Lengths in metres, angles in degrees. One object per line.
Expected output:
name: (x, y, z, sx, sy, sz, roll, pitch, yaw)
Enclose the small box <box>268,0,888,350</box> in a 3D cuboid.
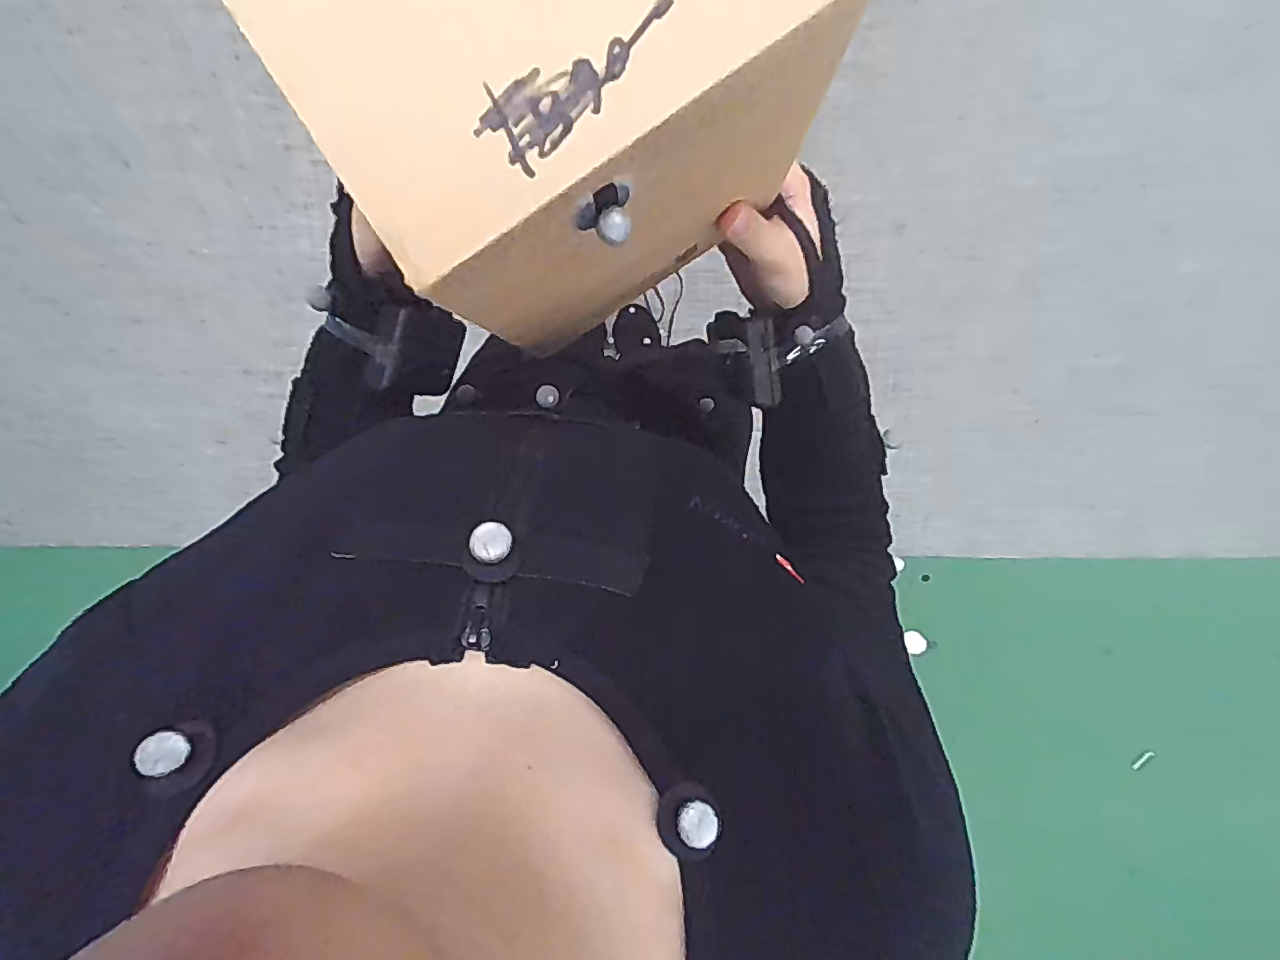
small box: (-0.033, -0.181, 0.244, 0.168, 0.176, 0.179, -33, 93, 6)
